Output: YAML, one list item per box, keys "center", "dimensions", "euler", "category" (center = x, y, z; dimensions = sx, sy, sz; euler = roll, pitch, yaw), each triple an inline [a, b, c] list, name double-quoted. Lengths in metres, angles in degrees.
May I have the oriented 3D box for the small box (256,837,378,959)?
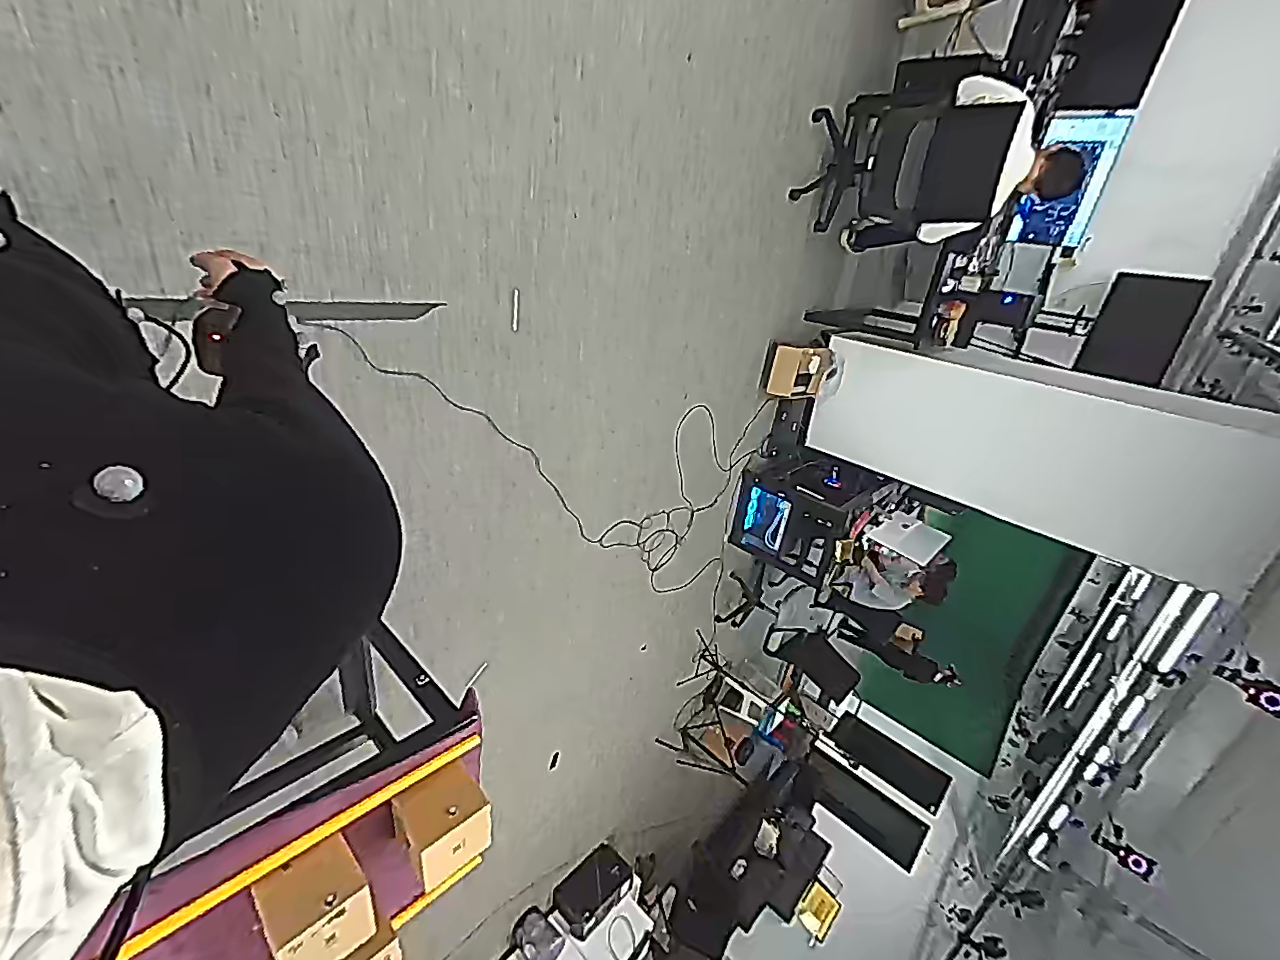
- center: [-0.662, 0.895, 1.114]
  dimensions: [0.168, 0.176, 0.179]
  euler: [-19, 126, -44]
  category: "small box"

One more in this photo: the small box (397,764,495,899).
- center: [-0.472, 0.842, 1.312]
  dimensions: [0.179, 0.176, 0.168]
  euler: [-19, 126, -43]
  category: "small box"
